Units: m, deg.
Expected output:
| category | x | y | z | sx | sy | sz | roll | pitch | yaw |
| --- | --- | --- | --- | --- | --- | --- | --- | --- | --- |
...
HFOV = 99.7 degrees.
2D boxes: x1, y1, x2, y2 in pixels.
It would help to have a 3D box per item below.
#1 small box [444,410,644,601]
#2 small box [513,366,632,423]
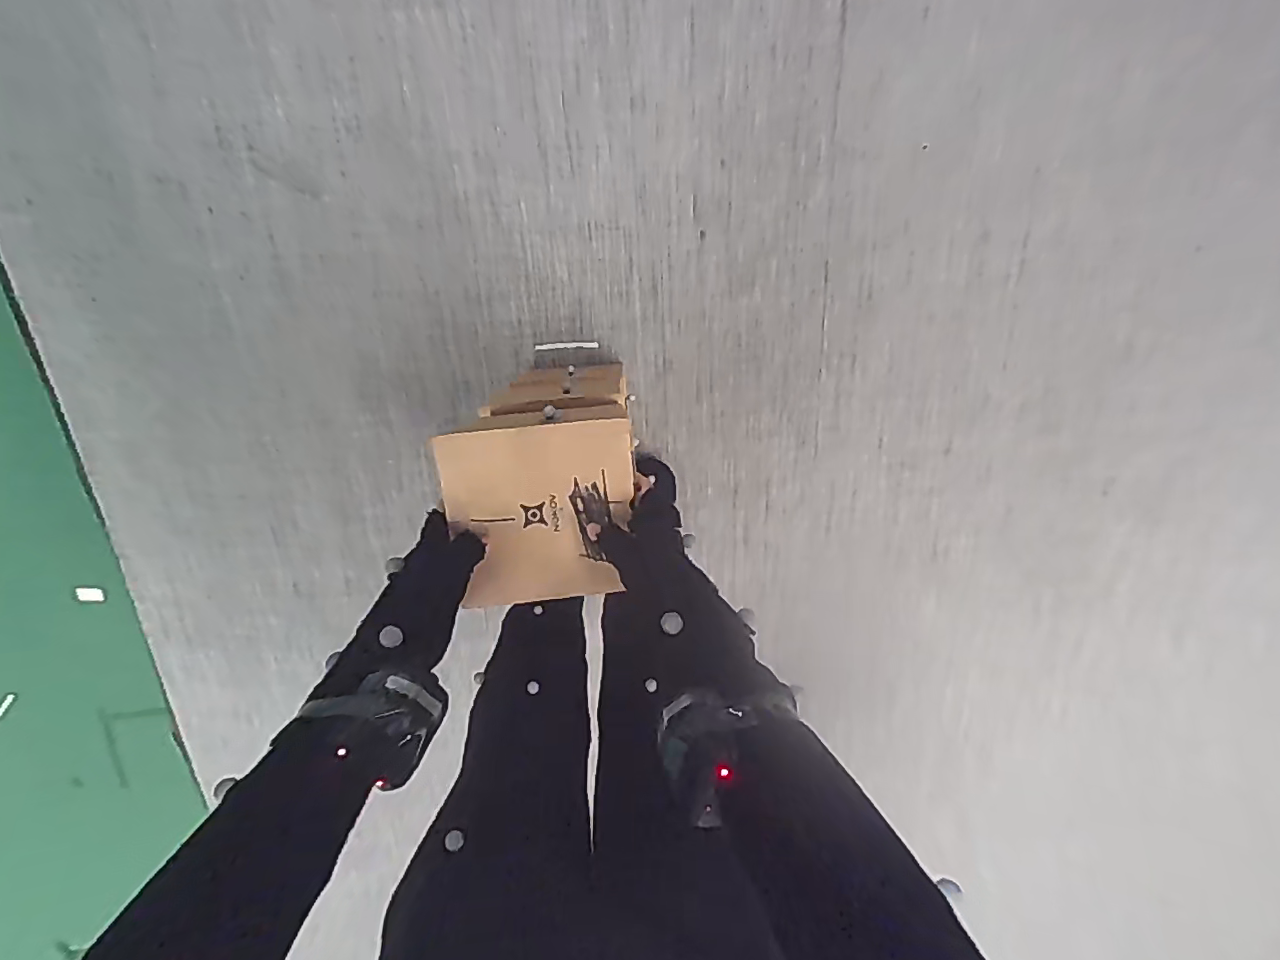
| category | x | y | z | sx | sy | sz | roll | pitch | yaw |
| --- | --- | --- | --- | --- | --- | --- | --- | --- | --- |
| small box | -0.091 | 0.015 | 0.573 | 0.179 | 0.176 | 0.168 | -3 | 100 | -3 |
| small box | -0.101 | -0.097 | 0.906 | 0.179 | 0.176 | 0.168 | -4 | 108 | 1 |
